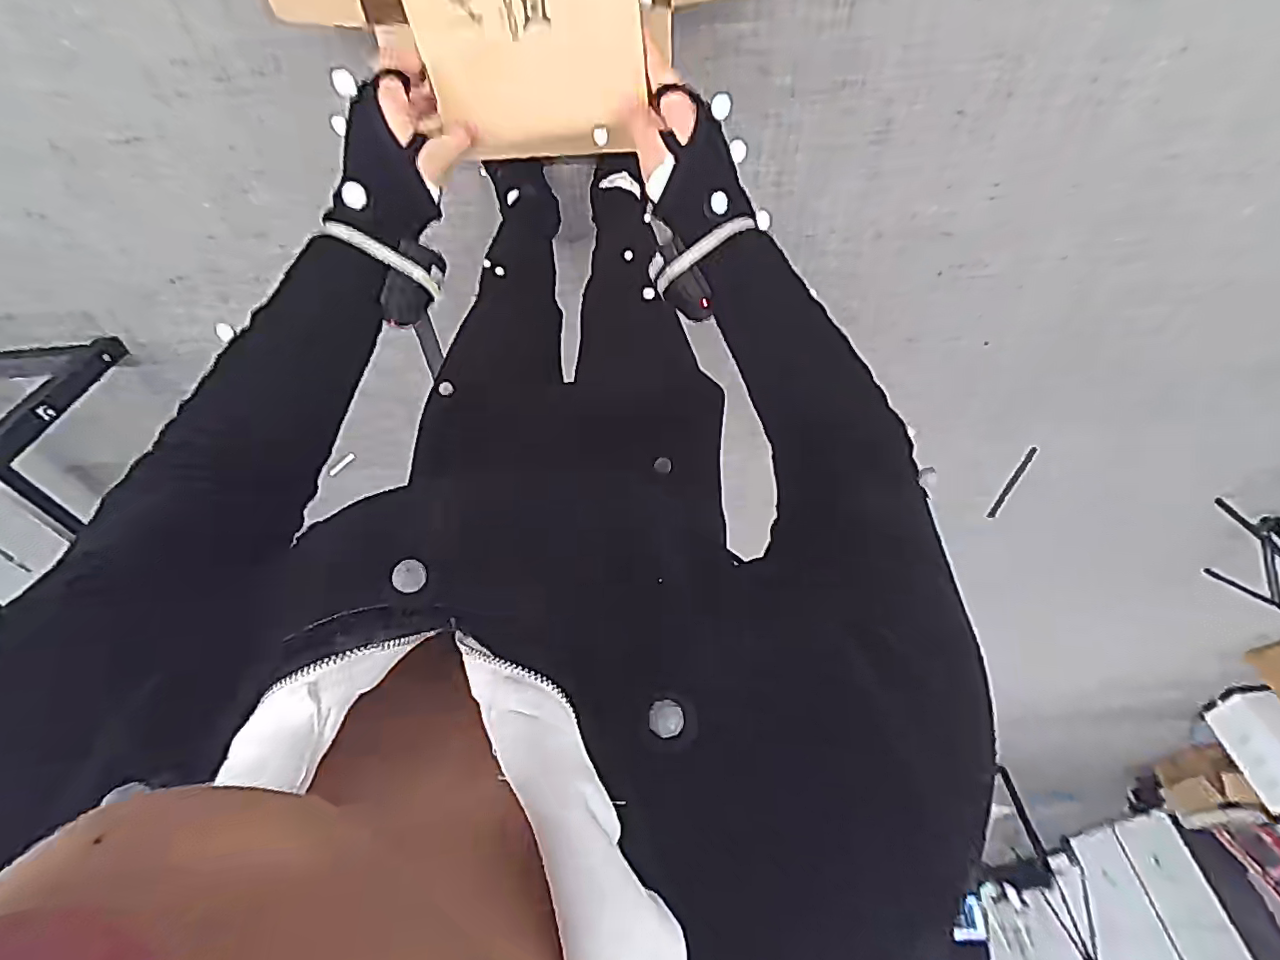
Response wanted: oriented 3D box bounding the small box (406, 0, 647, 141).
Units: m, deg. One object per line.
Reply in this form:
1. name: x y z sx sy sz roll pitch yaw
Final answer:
1. small box: -0.093 -0.414 0.467 0.179 0.176 0.168 -7 131 2
